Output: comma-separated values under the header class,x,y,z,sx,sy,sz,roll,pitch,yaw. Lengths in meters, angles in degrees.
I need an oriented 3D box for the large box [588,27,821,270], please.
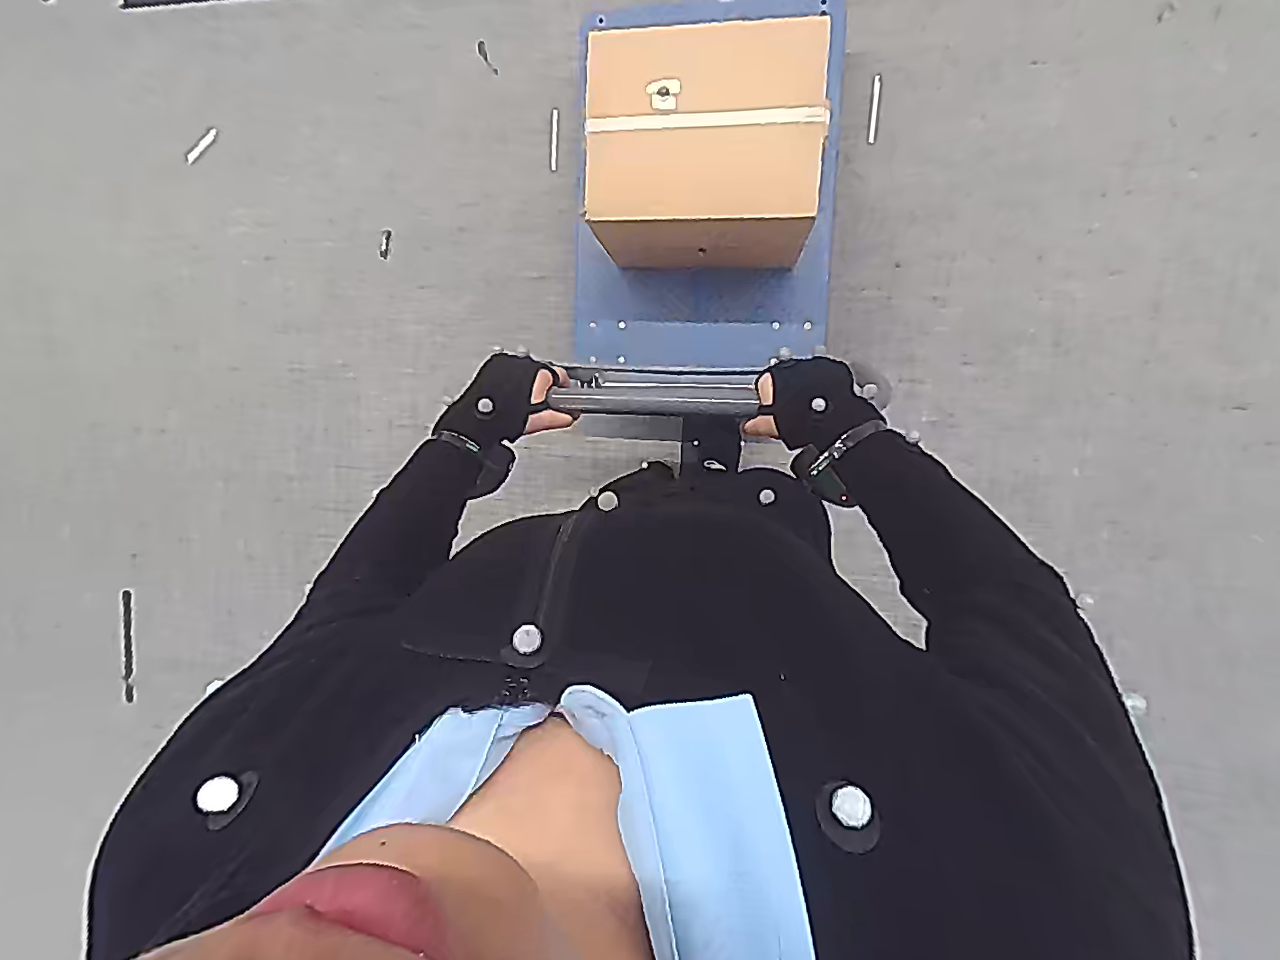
class,x,y,z,sx,sy,sz,roll,pitch,yaw
large box,0.129,-0.622,1.089,0.408,0.320,0.320,3,95,9
